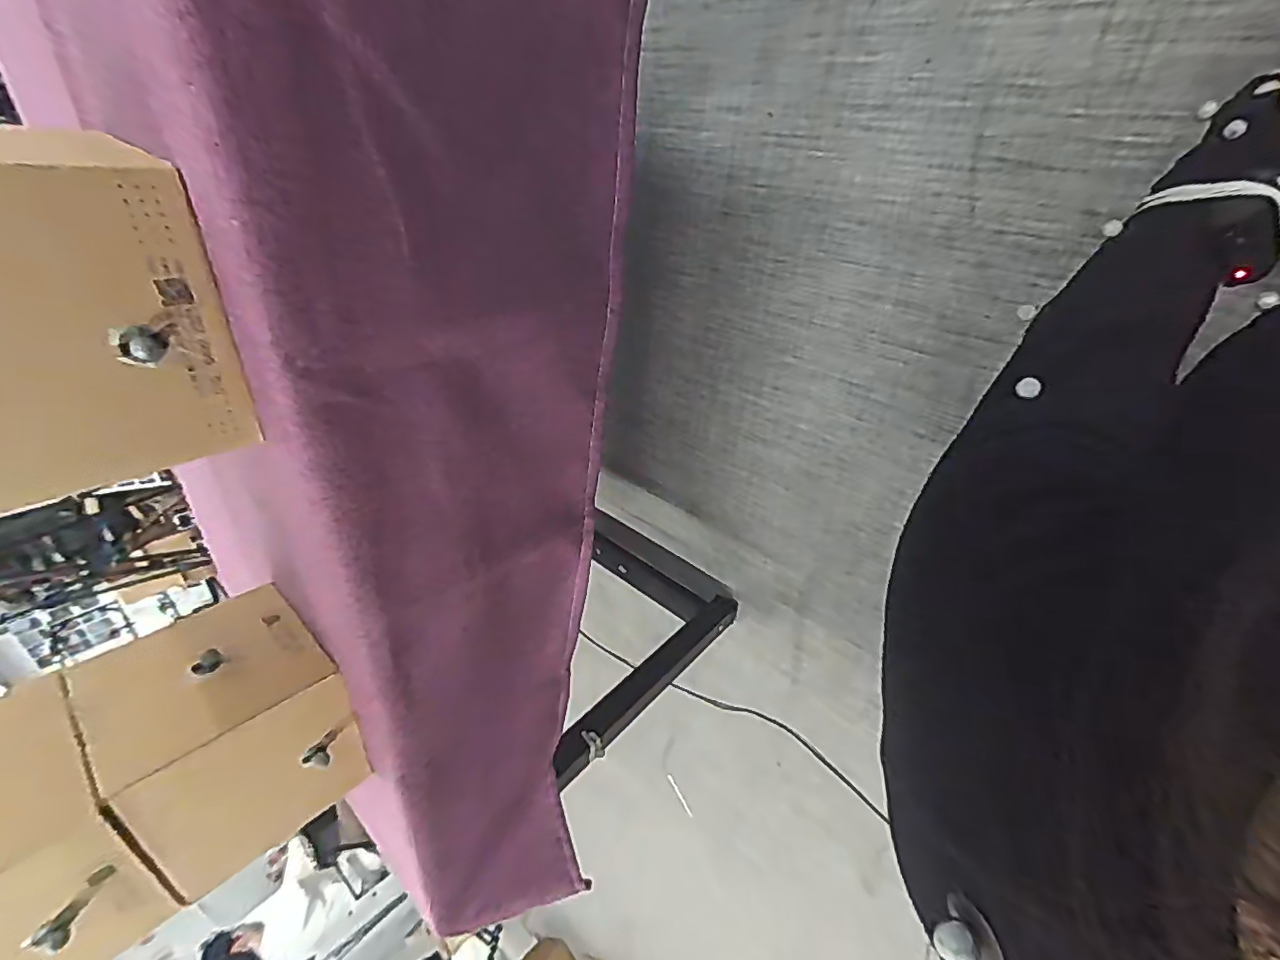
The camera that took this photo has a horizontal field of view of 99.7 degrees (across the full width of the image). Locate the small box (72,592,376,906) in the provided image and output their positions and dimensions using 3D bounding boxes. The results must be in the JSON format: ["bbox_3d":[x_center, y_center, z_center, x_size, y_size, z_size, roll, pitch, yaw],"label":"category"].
[{"bbox_3d":[-0.386,0.241,0.525,0.168,0.176,0.179,27,127,32],"label":"small box"}]

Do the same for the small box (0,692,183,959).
[{"bbox_3d":[-0.497,0.297,0.416,0.179,0.176,0.168,28,129,31],"label":"small box"}]
